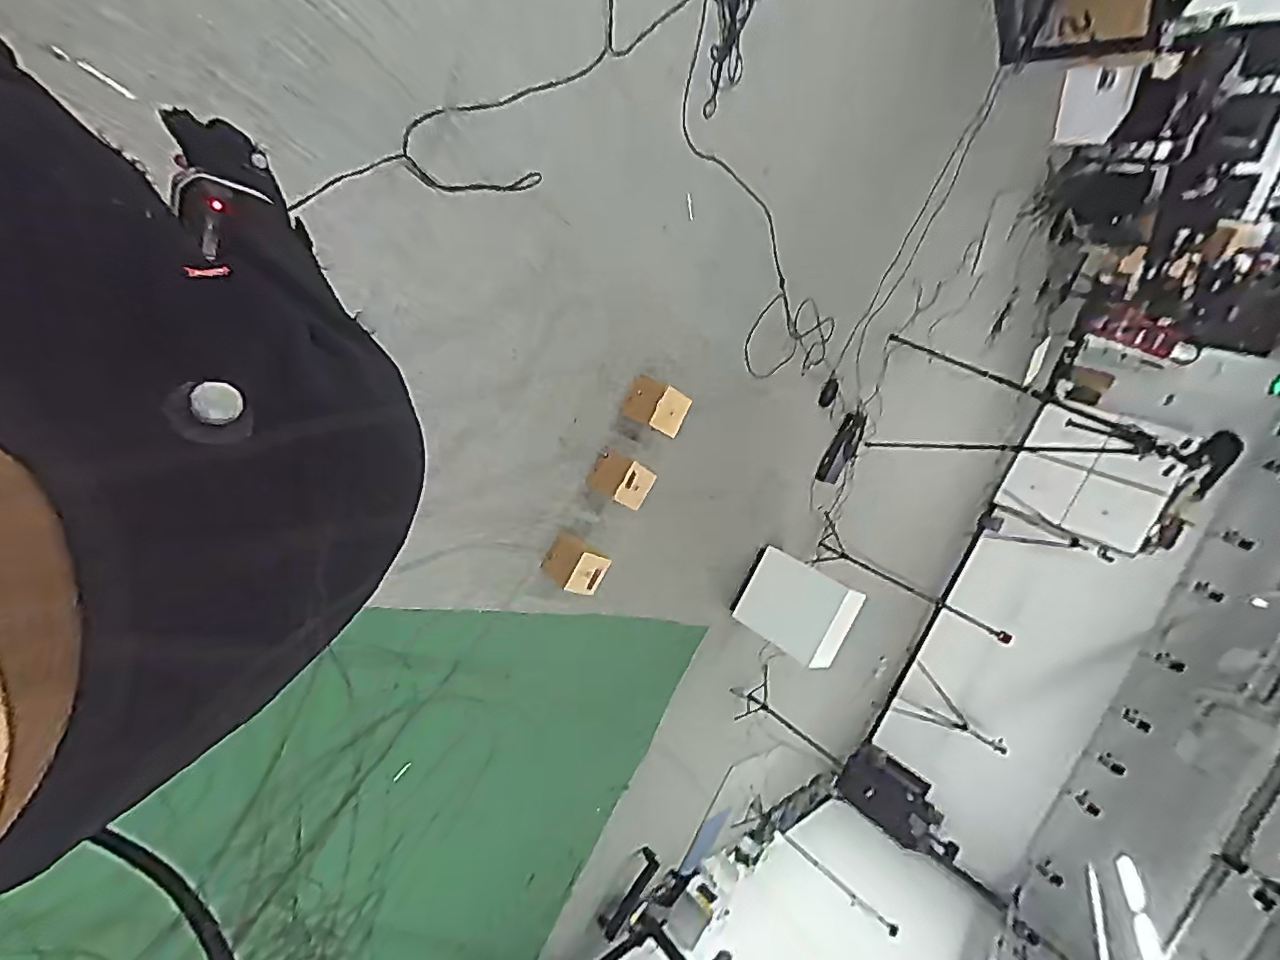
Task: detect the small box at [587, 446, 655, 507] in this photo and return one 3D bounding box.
[{"bbox_3d":[-0.079,-0.019,2.136,0.179,0.176,0.168,32,89,-52],"label":"small box"}]

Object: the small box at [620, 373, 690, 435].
[{"bbox_3d":[0.058,-0.301,2.112,0.179,0.176,0.168,22,96,-50],"label":"small box"}]
